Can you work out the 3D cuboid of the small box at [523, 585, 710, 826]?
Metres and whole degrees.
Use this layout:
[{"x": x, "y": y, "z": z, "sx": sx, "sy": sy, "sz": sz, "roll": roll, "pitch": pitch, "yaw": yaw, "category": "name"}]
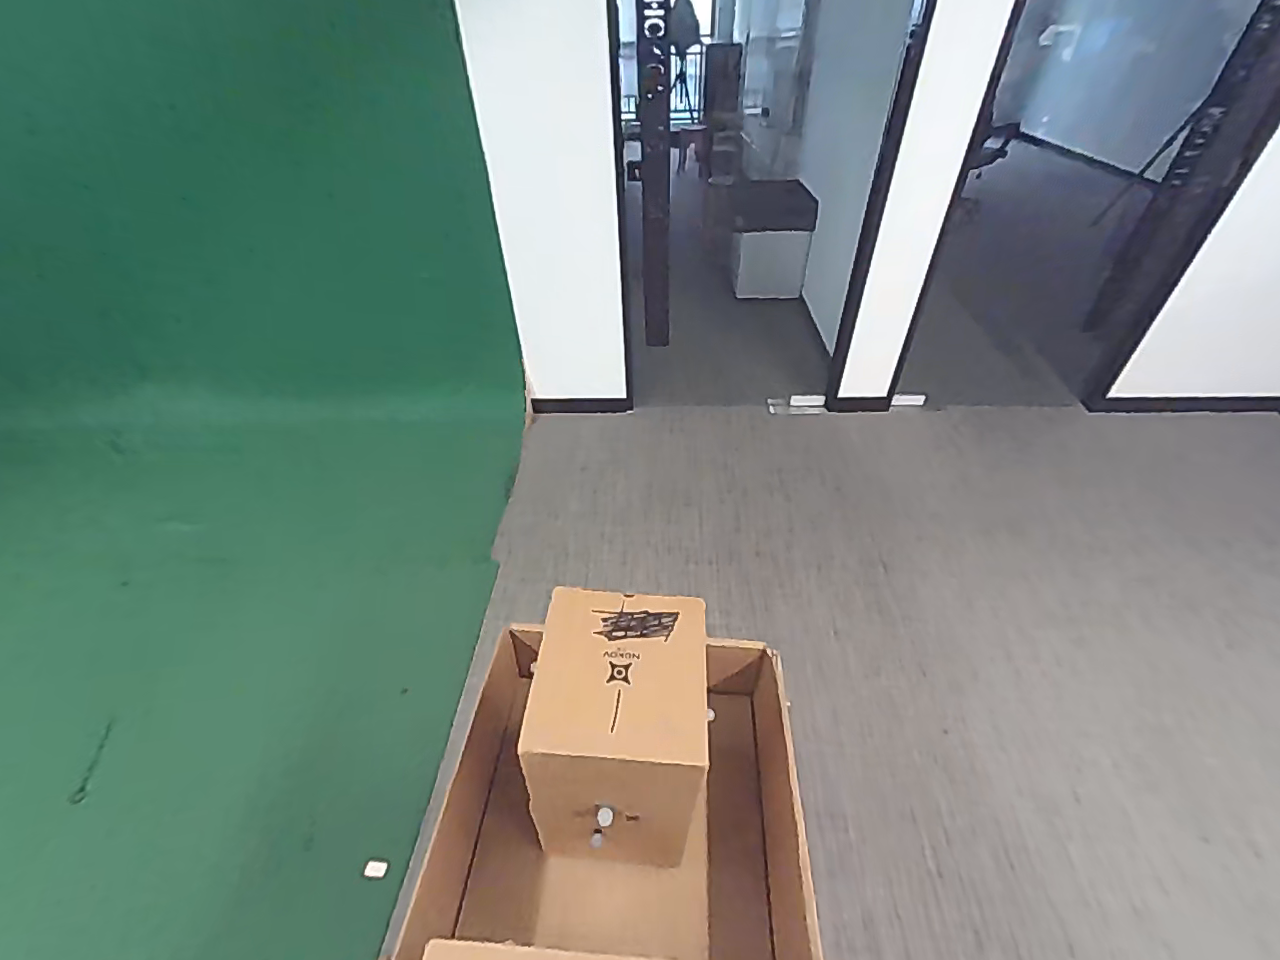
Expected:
[{"x": -0.018, "y": 0.238, "z": 0.577, "sx": 0.168, "sy": 0.176, "sz": 0.179, "roll": 4, "pitch": 42, "yaw": 2, "category": "small box"}]
